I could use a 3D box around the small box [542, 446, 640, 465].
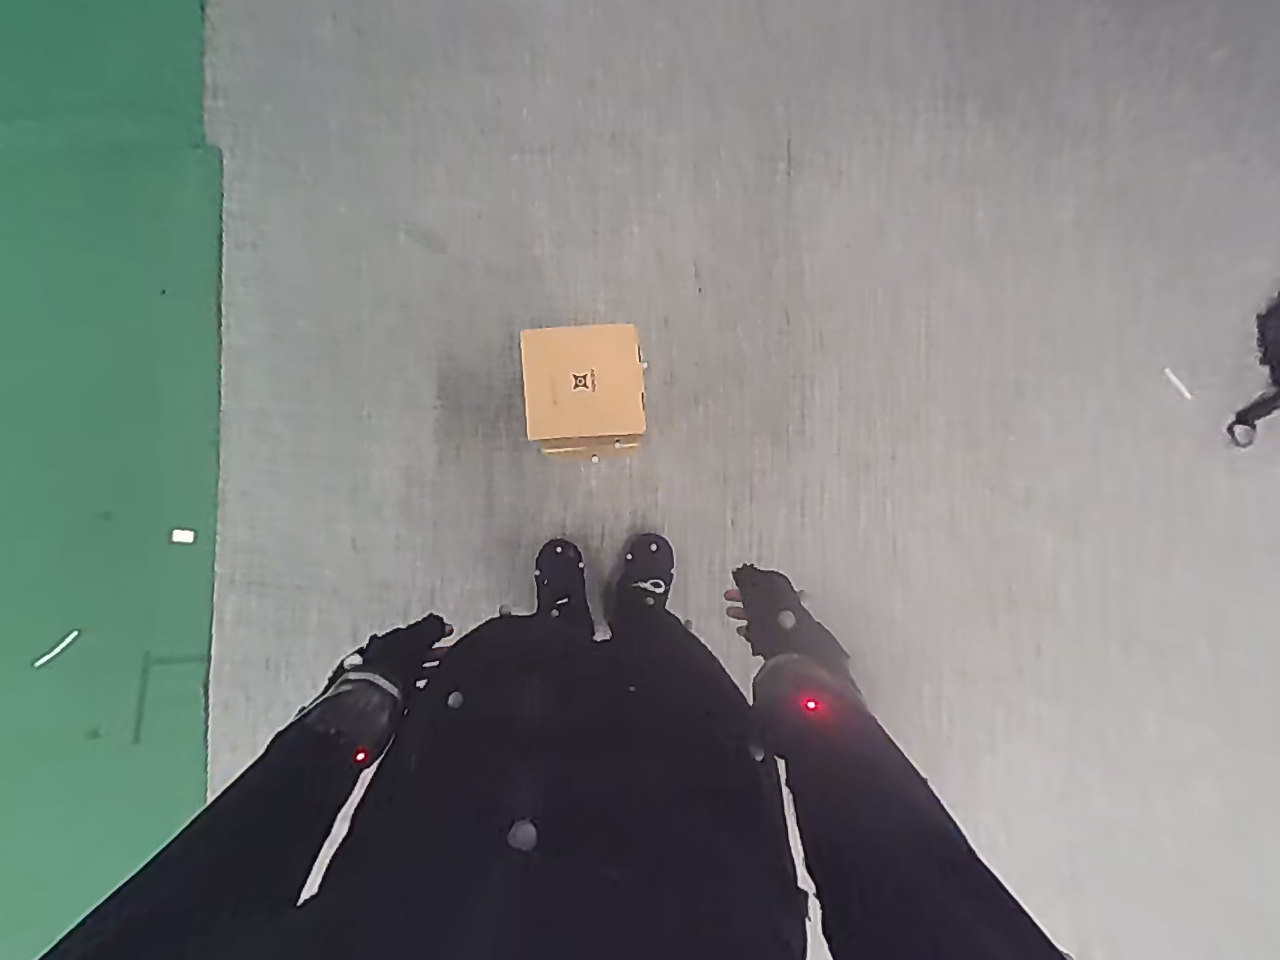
[{"bbox_3d":[-0.097,-0.118,1.045,0.179,0.176,0.168,-4,88,-3],"label":"small box"}]

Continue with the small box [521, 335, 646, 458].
[{"bbox_3d":[-0.087,-0.128,0.883,0.179,0.176,0.168,-5,88,-1],"label":"small box"}]
